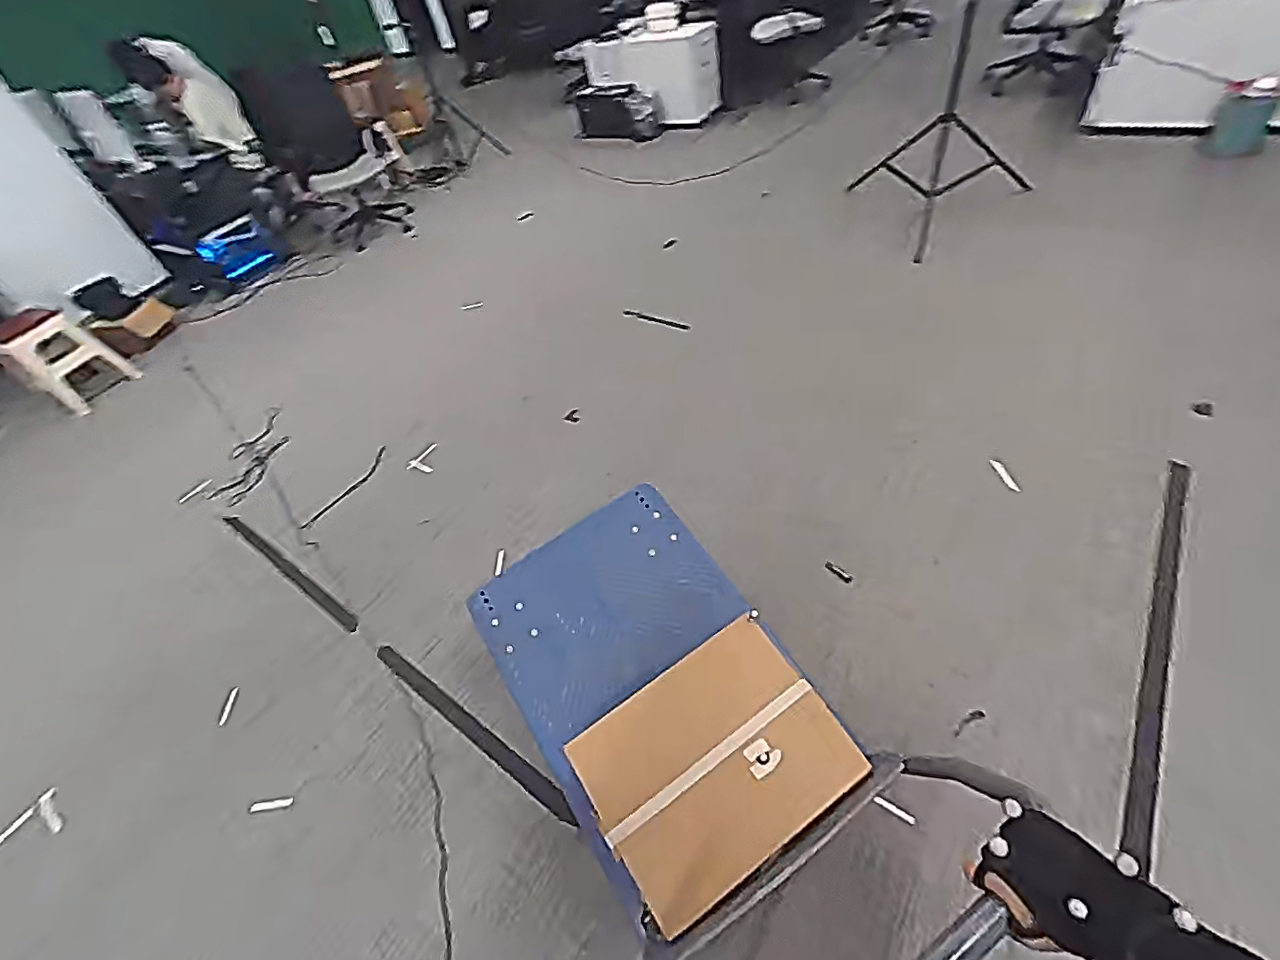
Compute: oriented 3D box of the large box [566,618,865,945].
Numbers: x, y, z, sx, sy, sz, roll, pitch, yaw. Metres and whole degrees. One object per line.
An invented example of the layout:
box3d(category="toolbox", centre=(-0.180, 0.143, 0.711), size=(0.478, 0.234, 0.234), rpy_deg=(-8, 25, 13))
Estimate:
box3d(category="large box", centre=(0.130, 0.538, 1.016), size=(0.408, 0.320, 0.320), rpy_deg=(-33, 63, -13))
